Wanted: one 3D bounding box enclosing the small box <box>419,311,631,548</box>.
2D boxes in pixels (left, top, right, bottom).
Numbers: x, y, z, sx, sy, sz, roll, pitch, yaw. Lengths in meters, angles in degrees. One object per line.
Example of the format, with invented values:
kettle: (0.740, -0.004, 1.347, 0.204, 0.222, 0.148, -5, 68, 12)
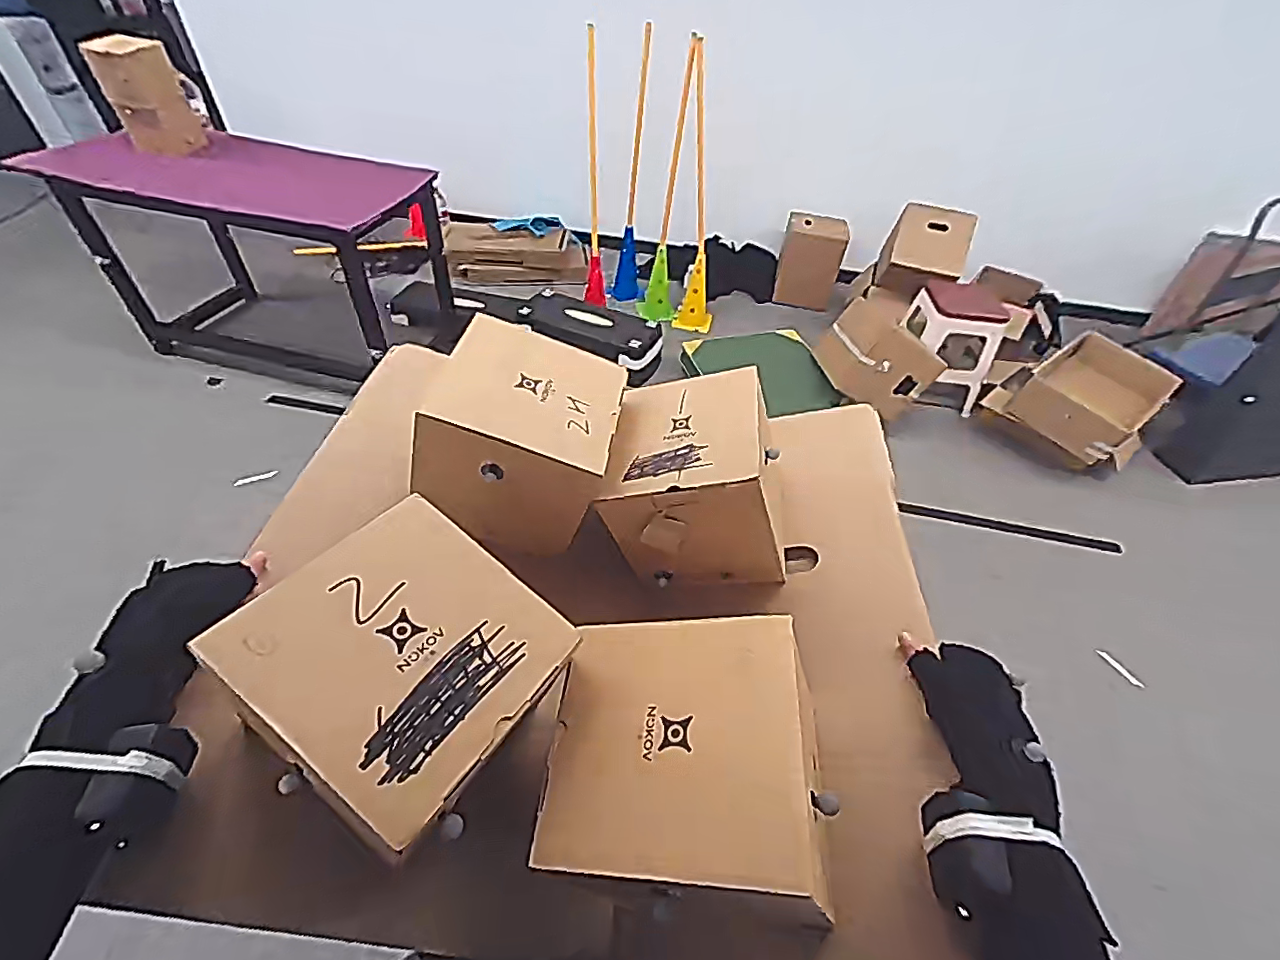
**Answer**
small box: (-0.129, -0.048, 0.602, 0.179, 0.176, 0.168, 21, 48, -10)
